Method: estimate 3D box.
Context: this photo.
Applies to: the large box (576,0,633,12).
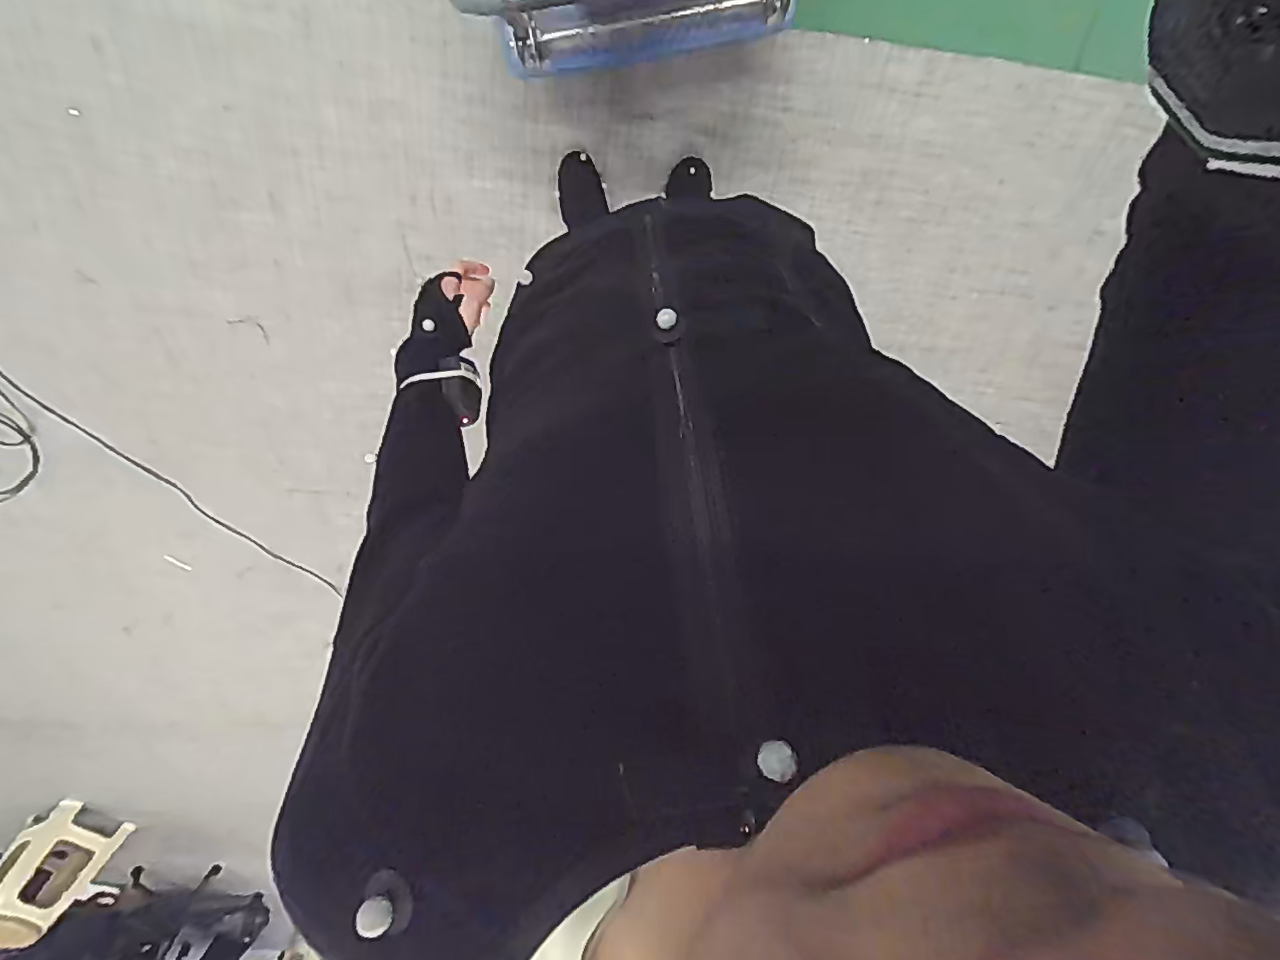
[{"bbox_3d":[-0.001,-1.017,0.807,0.320,0.320,0.408,-9,120,3],"label":"large box"}]
